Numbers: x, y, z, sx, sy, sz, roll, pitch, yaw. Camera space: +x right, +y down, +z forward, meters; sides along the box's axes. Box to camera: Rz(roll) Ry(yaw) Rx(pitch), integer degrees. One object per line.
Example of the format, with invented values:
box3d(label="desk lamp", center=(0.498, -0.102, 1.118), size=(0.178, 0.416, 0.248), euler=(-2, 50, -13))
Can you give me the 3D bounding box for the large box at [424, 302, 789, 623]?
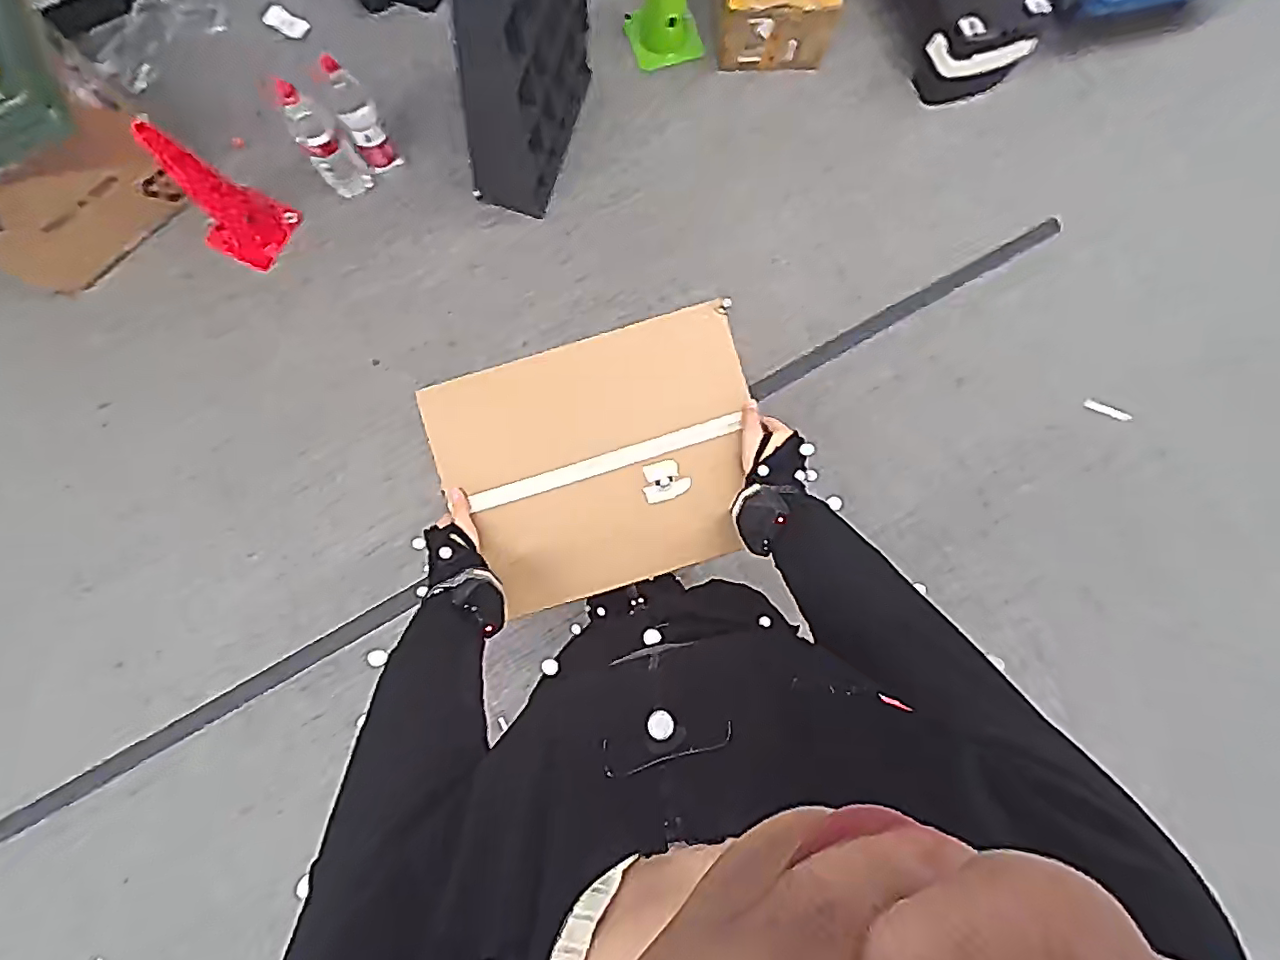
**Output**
box3d(label="large box", center=(-0.045, -0.020, 0.832), size=(0.408, 0.320, 0.320), euler=(-17, 90, -1))
